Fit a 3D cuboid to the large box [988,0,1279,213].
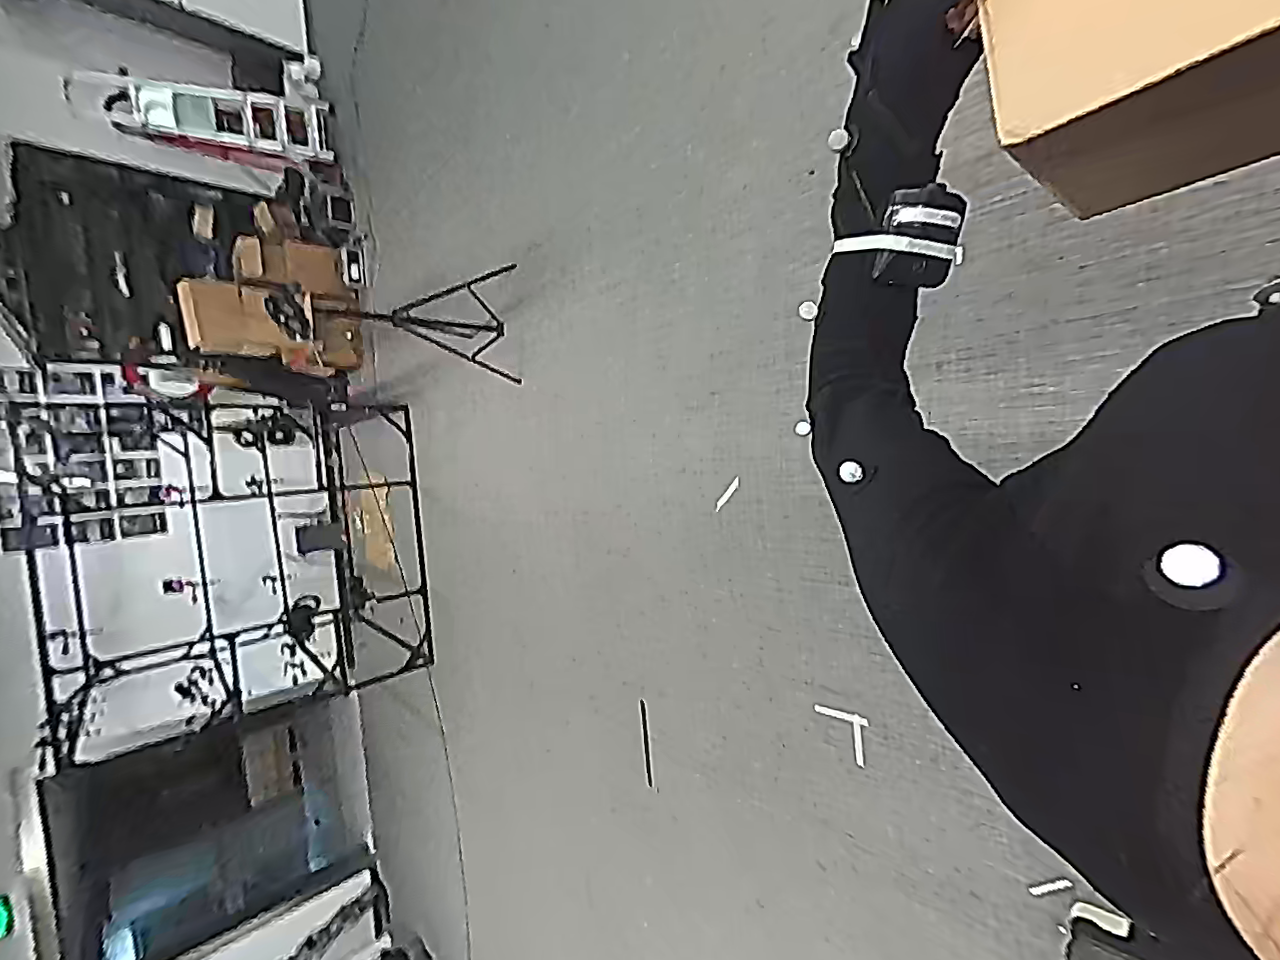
[{"bbox_3d":[0.467,-0.427,0.327,0.408,0.320,0.320,-8,94,47],"label":"large box"}]
